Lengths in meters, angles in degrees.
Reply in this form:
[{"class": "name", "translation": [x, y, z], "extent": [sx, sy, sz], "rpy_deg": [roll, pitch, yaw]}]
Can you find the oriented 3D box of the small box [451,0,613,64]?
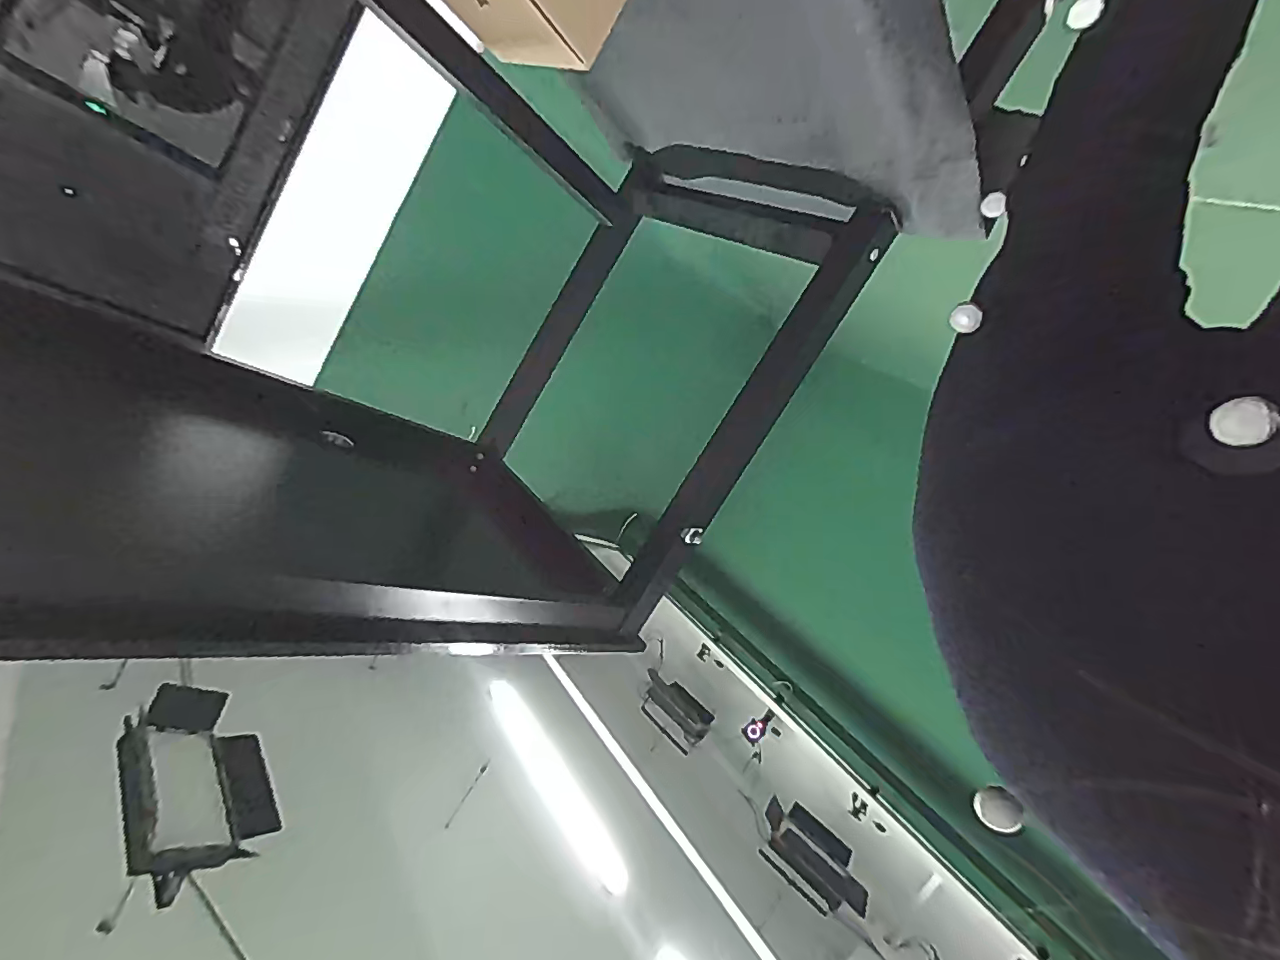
[{"class": "small box", "translation": [-0.101, -0.506, 0.458], "extent": [0.168, 0.176, 0.179], "rpy_deg": [37, -170, 36]}]
